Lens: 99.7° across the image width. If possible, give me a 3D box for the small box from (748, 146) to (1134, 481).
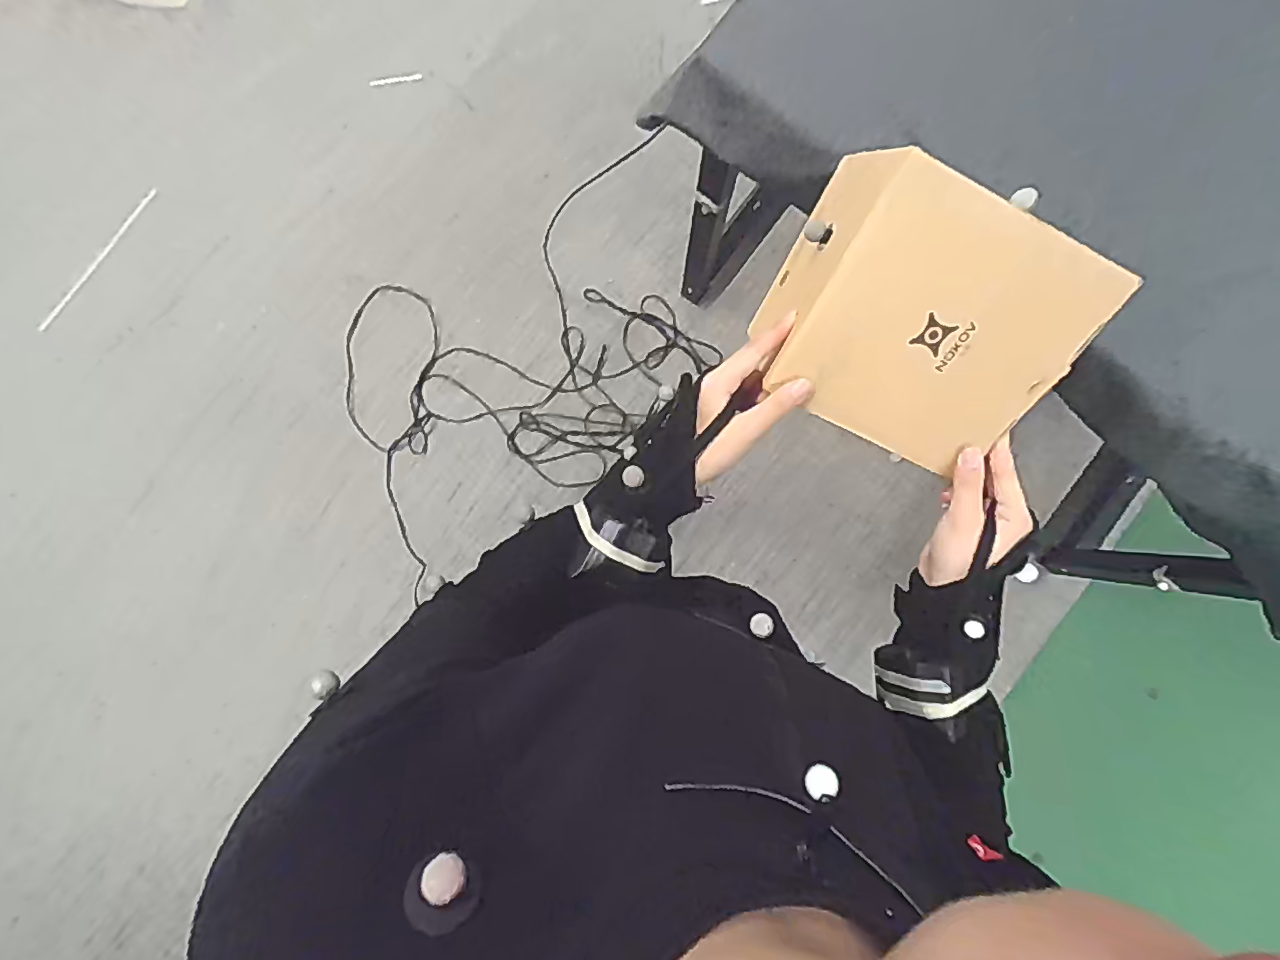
[{"bbox_3d":[0.201,-0.133,0.428,0.179,0.176,0.168,23,119,-8],"label":"small box"}]
